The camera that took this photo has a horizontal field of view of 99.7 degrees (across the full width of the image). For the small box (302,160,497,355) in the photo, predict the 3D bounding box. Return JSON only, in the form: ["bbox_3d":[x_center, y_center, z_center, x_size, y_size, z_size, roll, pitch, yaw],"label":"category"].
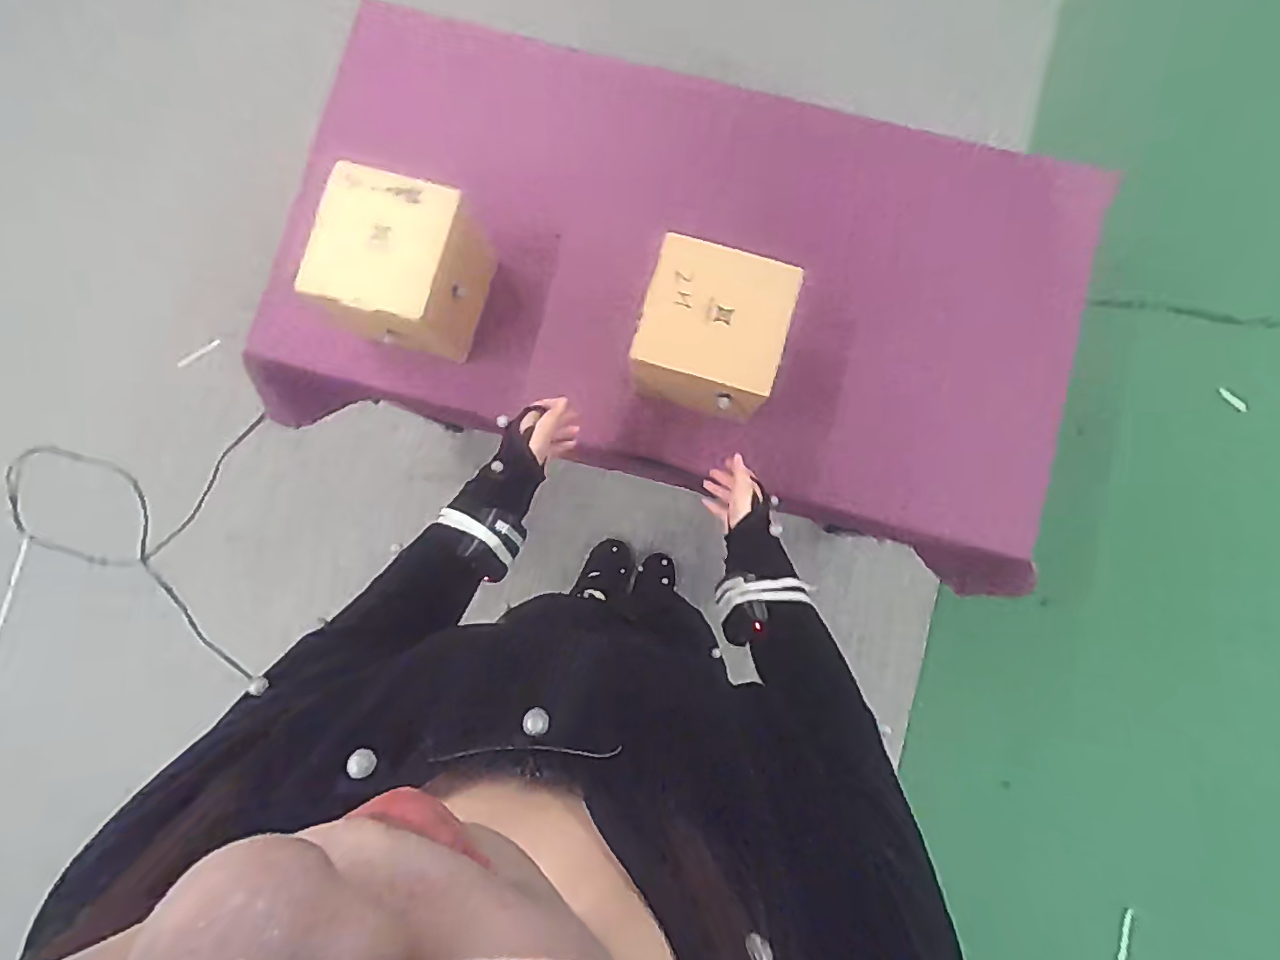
[{"bbox_3d":[-0.314,-0.291,0.746,0.168,0.176,0.179,16,86,2],"label":"small box"}]

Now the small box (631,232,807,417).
[{"bbox_3d":[0.097,-0.193,0.727,0.179,0.176,0.168,17,85,3],"label":"small box"}]
